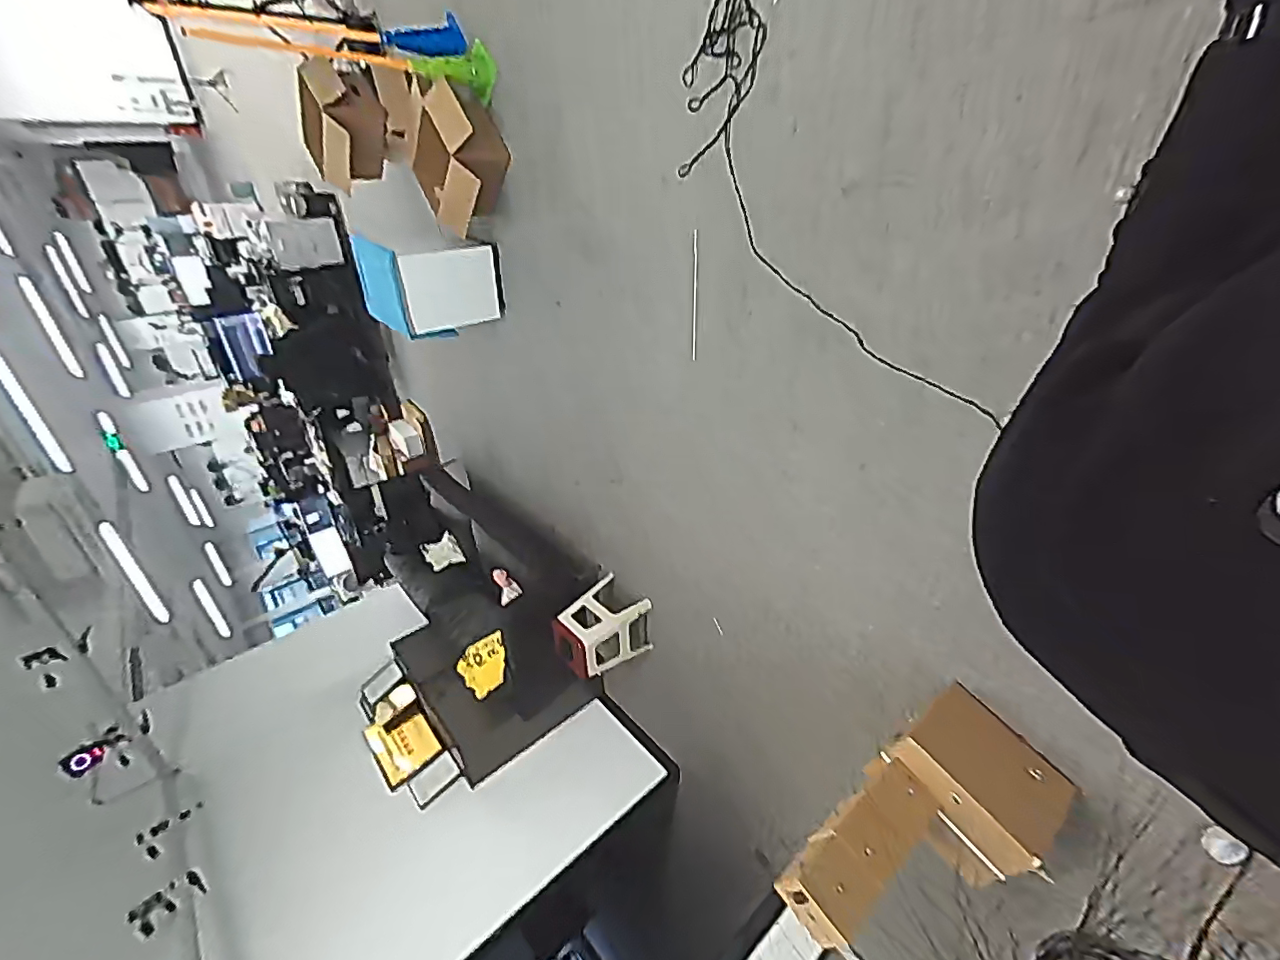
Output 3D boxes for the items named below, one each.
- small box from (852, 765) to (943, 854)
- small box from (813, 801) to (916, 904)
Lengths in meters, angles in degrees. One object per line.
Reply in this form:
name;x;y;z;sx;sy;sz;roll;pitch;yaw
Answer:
small box;0.764;0.996;1.618;0.168;0.176;0.179;45;143;27
small box;0.635;1.048;1.534;0.179;0.176;0.168;46;143;26
